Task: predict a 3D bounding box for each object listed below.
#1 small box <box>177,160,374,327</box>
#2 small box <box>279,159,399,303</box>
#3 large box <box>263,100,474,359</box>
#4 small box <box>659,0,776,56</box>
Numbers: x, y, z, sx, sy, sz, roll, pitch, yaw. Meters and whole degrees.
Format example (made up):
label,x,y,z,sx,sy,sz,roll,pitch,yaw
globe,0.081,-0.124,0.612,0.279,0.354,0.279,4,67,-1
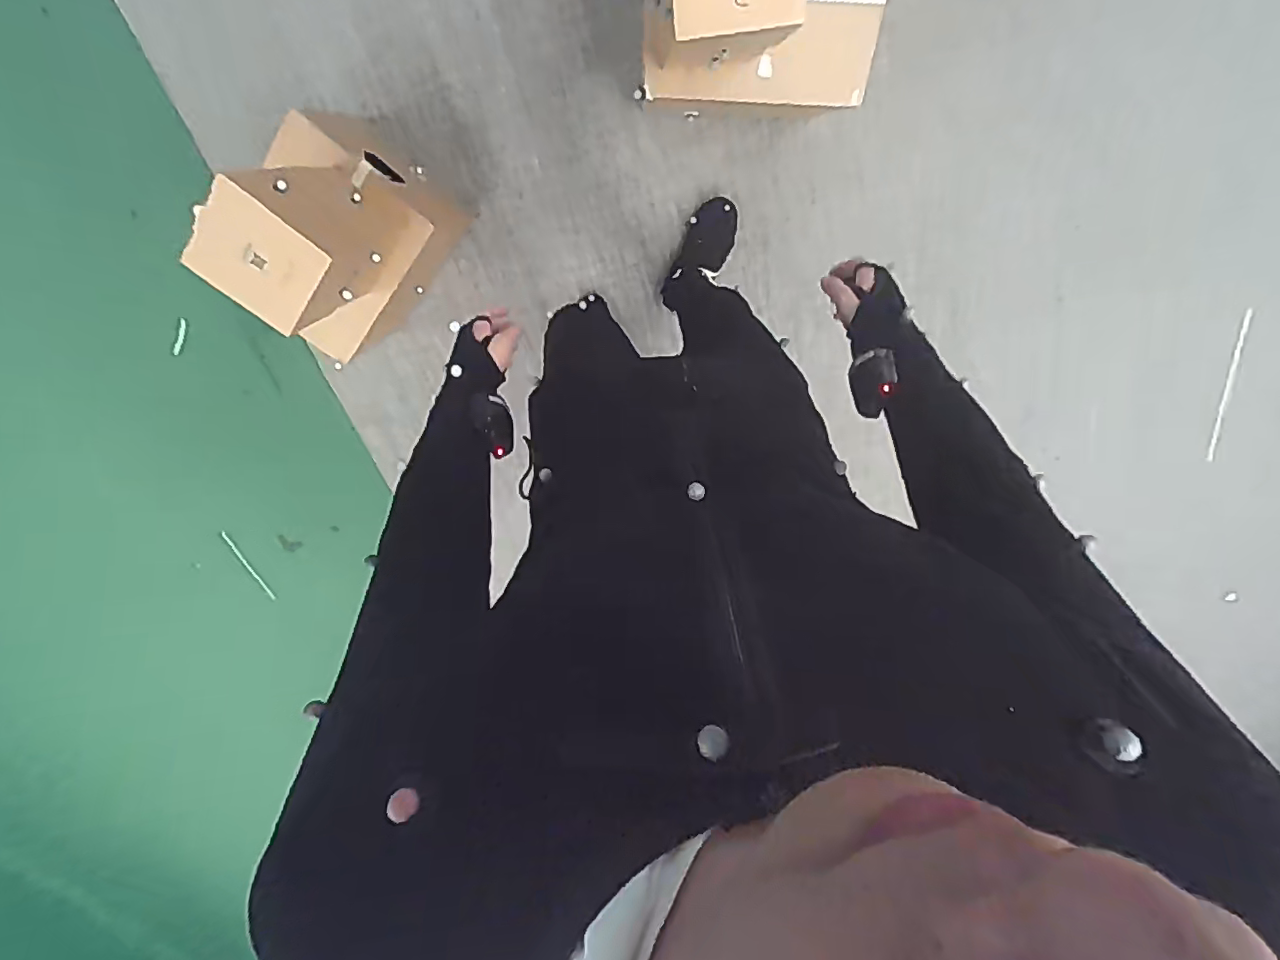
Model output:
label,x,y,z,sx,sy,sz,roll,pitch,yaw
small box,-0.578,-0.384,0.878,0.179,0.176,0.168,38,115,-21
small box,-0.583,-0.470,1.016,0.168,0.176,0.179,37,114,-19
large box,-0.650,-0.567,1.246,0.320,0.320,0.408,38,115,-18
small box,0.114,-0.772,0.831,0.168,0.176,0.179,-4,121,3
